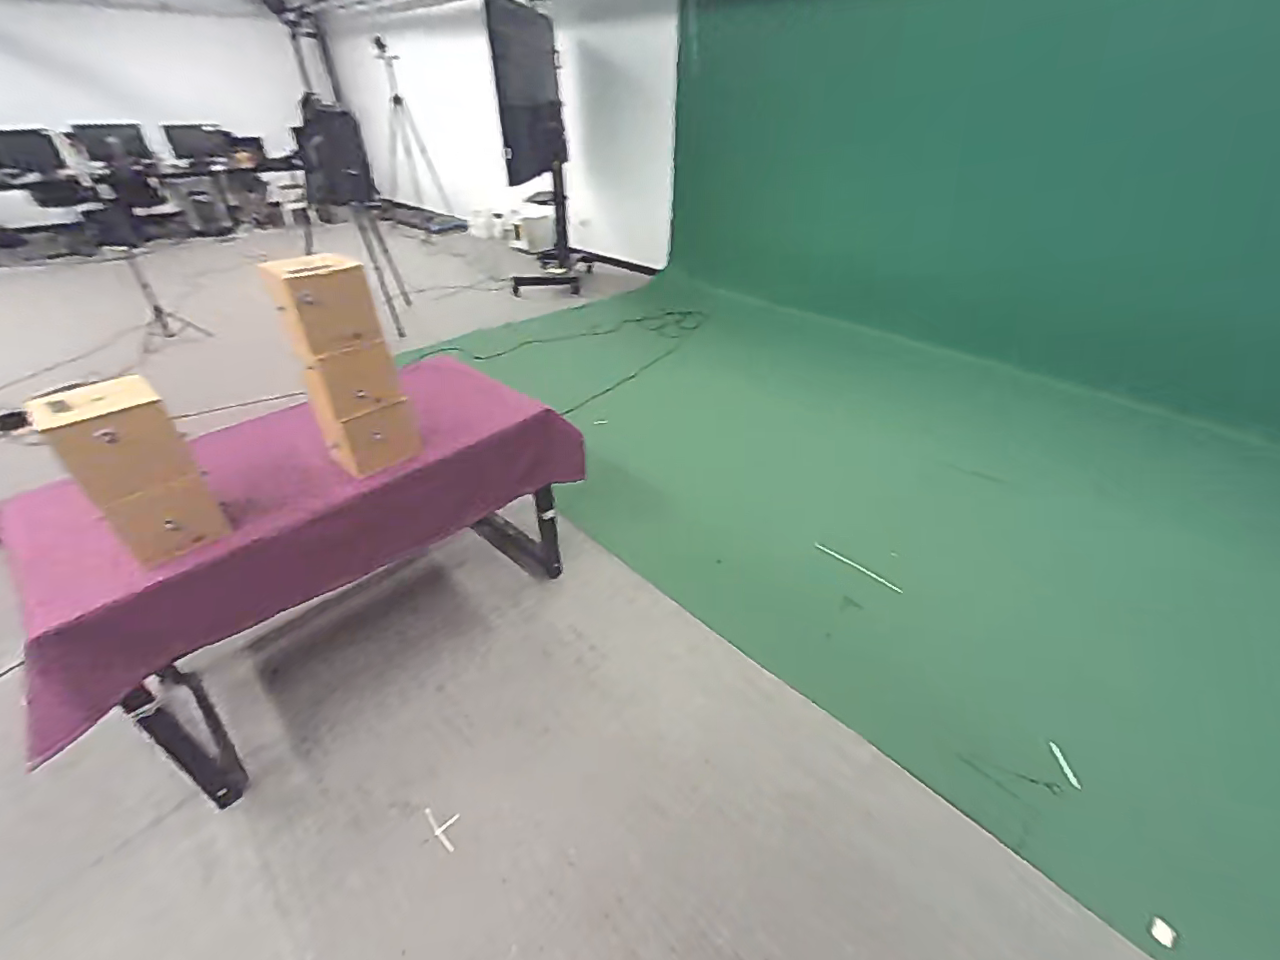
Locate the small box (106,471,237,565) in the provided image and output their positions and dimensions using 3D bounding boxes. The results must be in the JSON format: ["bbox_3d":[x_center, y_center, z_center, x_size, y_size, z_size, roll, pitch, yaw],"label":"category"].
[{"bbox_3d":[-1.012,0.058,1.165,0.179,0.176,0.168,28,43,34],"label":"small box"}]

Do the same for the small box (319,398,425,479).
[{"bbox_3d":[-0.700,-0.128,1.427,0.168,0.176,0.179,27,44,33],"label":"small box"}]

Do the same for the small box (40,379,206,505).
[{"bbox_3d":[-1.012,-0.076,1.069,0.168,0.176,0.179,28,43,34],"label":"small box"}]

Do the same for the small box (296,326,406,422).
[{"bbox_3d":[-0.708,-0.262,1.335,0.179,0.176,0.168,29,44,34],"label":"small box"}]
